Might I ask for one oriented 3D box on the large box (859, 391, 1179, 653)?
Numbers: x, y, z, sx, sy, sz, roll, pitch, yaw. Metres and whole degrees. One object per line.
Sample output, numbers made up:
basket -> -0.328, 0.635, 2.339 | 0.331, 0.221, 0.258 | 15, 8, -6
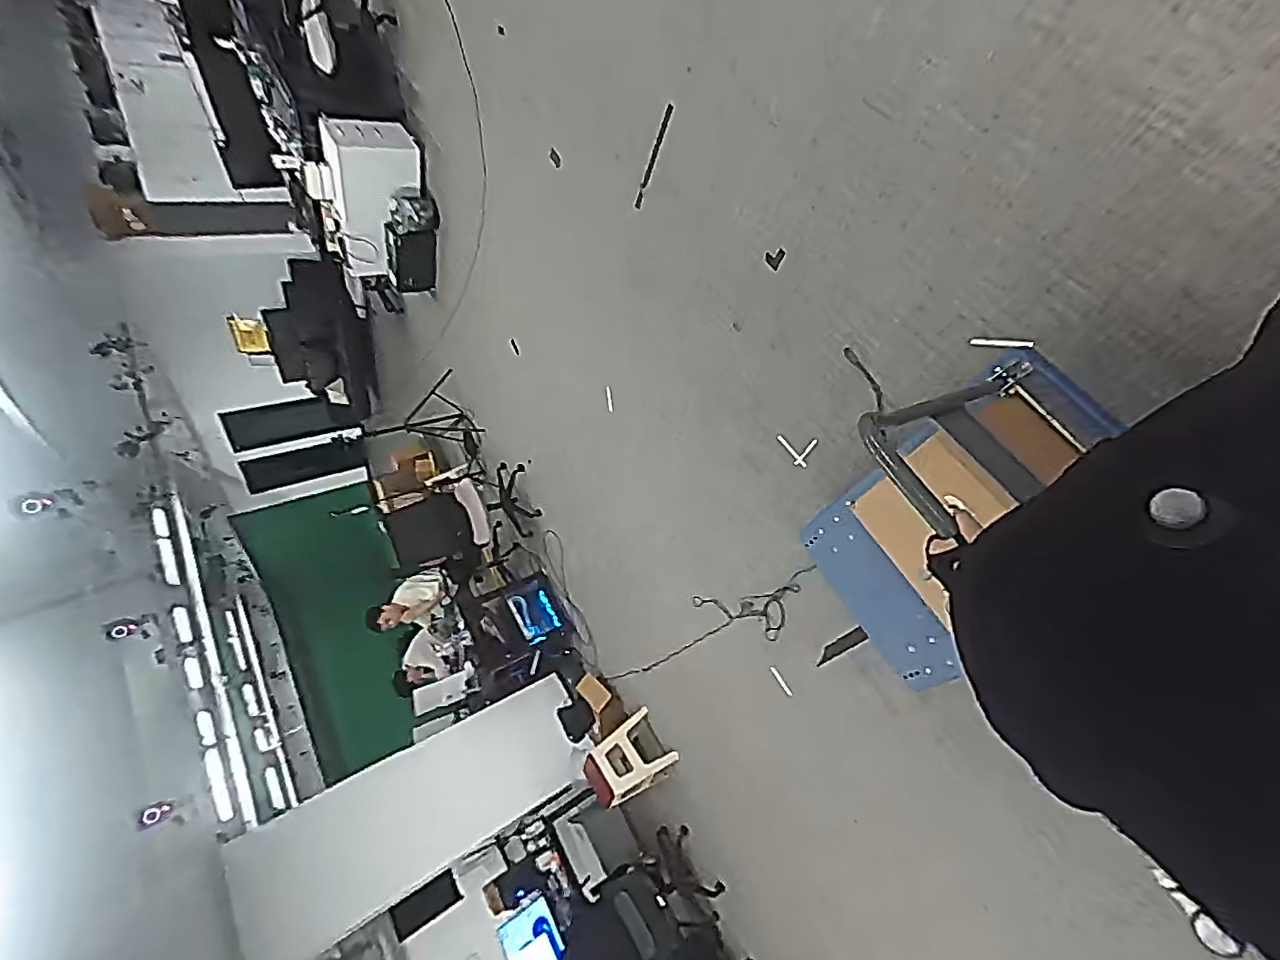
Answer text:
large box -> 0.773, 0.079, 1.144 | 0.408, 0.320, 0.320 | 58, 145, 22
